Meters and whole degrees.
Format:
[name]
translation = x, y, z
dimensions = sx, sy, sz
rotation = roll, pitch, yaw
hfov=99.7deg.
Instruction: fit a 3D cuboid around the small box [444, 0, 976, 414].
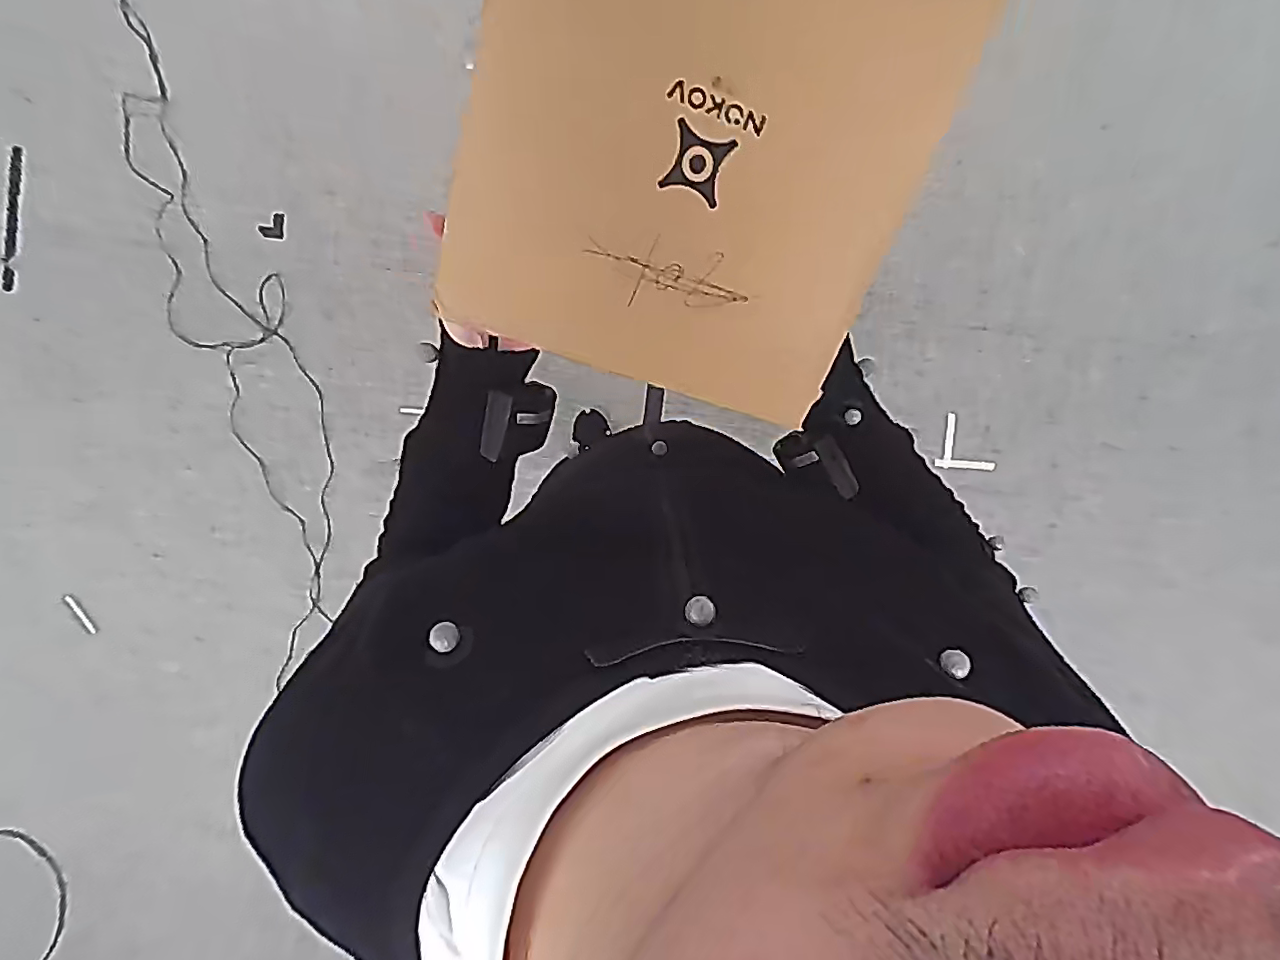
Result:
[small box]
translation = 0.016, -0.160, 0.280
dimensions = 0.168, 0.176, 0.179
rotation = 15, 114, -9
